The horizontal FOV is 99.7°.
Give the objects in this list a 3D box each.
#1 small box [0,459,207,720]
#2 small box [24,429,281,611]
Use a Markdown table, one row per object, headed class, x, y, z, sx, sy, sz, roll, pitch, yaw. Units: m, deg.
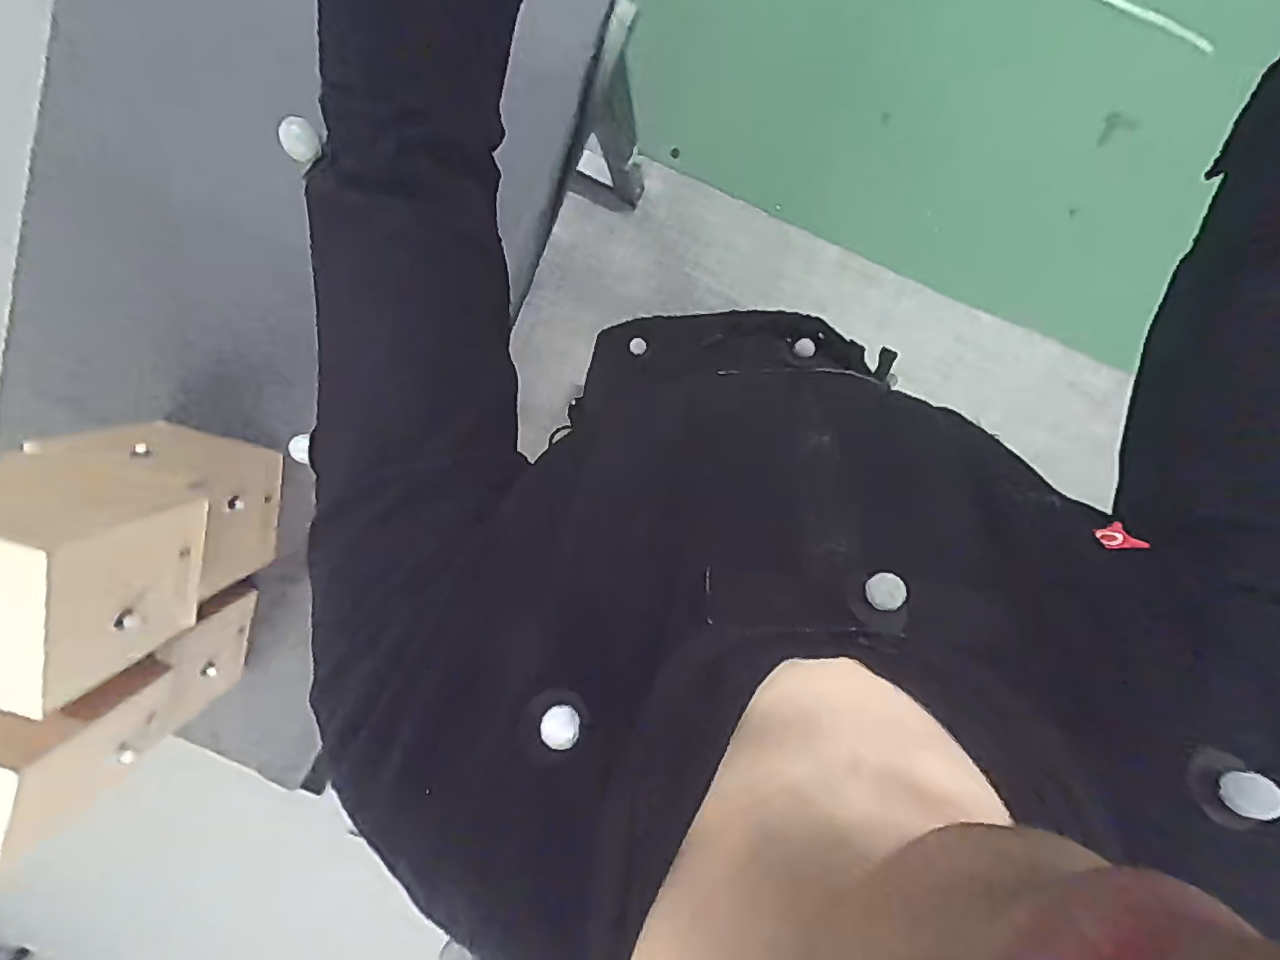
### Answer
| class | x | y | z | sx | sy | sz | roll | pitch | yaw |
| --- | --- | --- | --- | --- | --- | --- | --- | --- | --- |
| small box | -0.568 | 0.090 | 0.521 | 0.179 | 0.176 | 0.168 | 17 | 104 | -2 |
| small box | -0.590 | 0.041 | 0.677 | 0.179 | 0.176 | 0.168 | 15 | 104 | -1 |
